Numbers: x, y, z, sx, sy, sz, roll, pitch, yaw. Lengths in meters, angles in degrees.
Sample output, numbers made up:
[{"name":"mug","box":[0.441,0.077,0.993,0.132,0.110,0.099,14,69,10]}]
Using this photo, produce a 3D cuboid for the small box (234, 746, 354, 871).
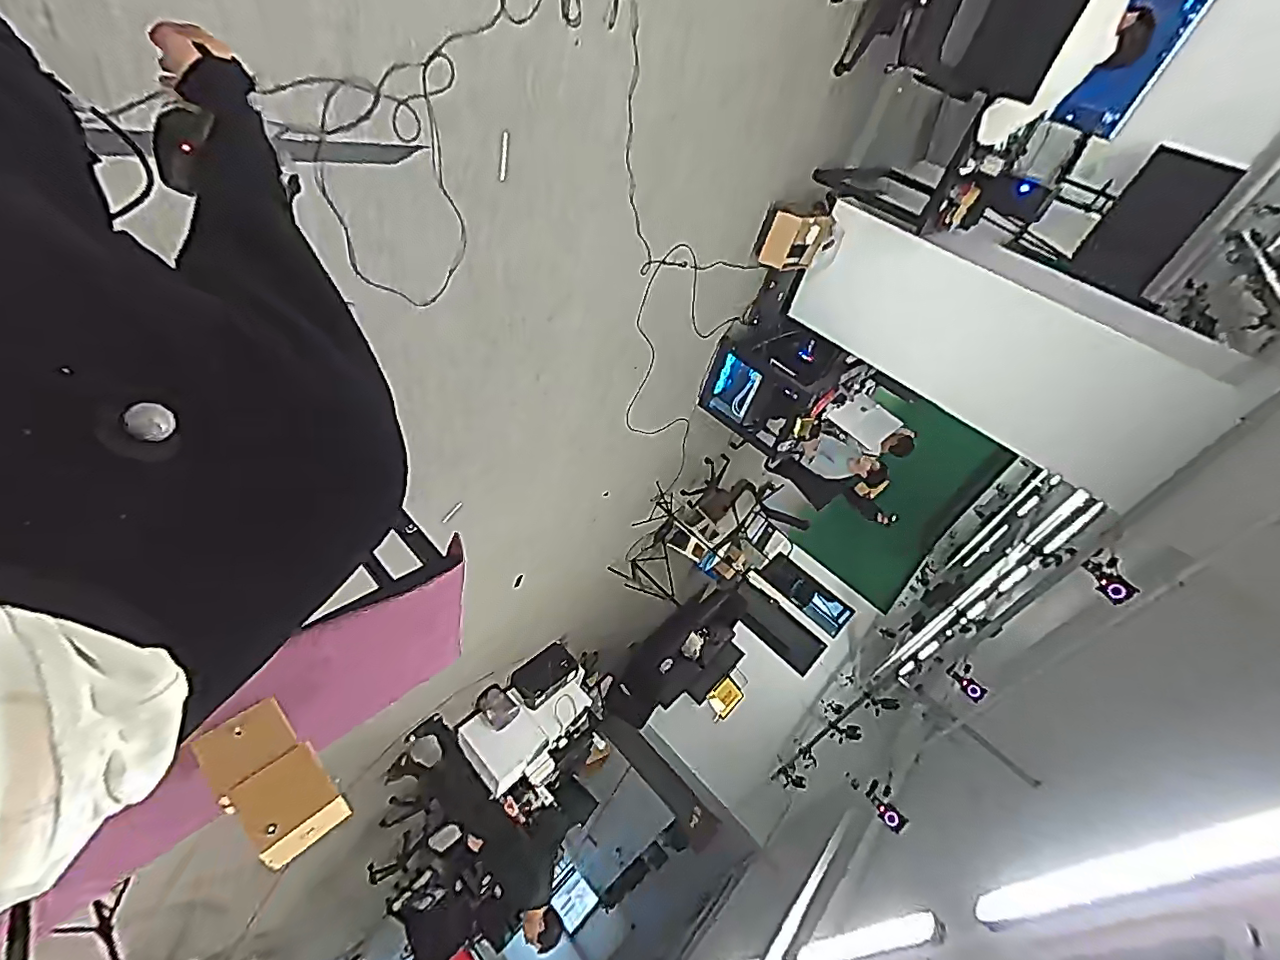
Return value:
[{"name":"small box","box":[-0.819,0.775,1.289,0.179,0.176,0.168,-30,151,-38]}]

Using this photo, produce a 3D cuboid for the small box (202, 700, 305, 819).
[{"name":"small box","box":[-0.949,0.691,1.346,0.179,0.176,0.168,-30,152,-37]}]
